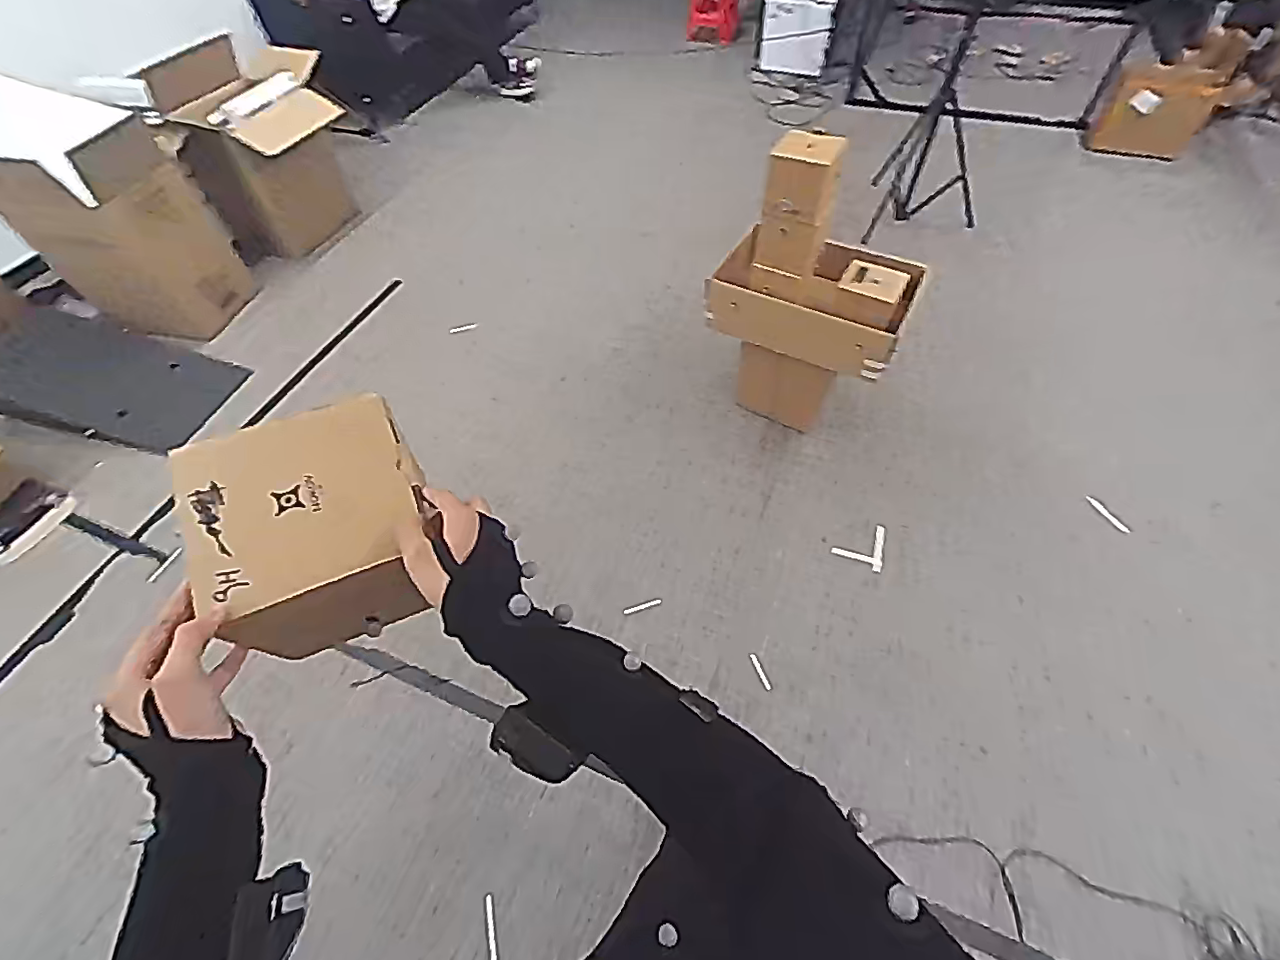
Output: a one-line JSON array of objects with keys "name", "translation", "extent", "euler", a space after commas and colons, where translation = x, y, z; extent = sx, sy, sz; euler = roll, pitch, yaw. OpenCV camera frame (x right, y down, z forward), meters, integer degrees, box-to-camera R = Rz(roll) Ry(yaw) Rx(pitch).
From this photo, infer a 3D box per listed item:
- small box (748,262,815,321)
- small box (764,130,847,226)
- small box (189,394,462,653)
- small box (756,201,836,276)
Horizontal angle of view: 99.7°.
[{"name": "small box", "translation": [0.469, -0.657, 1.794], "extent": [0.168, 0.176, 0.179], "euler": [24, 58, 17]}, {"name": "small box", "translation": [0.462, -0.854, 1.531], "extent": [0.168, 0.176, 0.179], "euler": [22, 57, 18]}, {"name": "small box", "translation": [-0.282, 0.048, 0.522], "extent": [0.179, 0.176, 0.168], "euler": [-19, 68, -17]}, {"name": "small box", "translation": [0.472, -0.757, 1.663], "extent": [0.179, 0.176, 0.168], "euler": [25, 59, 18]}]
